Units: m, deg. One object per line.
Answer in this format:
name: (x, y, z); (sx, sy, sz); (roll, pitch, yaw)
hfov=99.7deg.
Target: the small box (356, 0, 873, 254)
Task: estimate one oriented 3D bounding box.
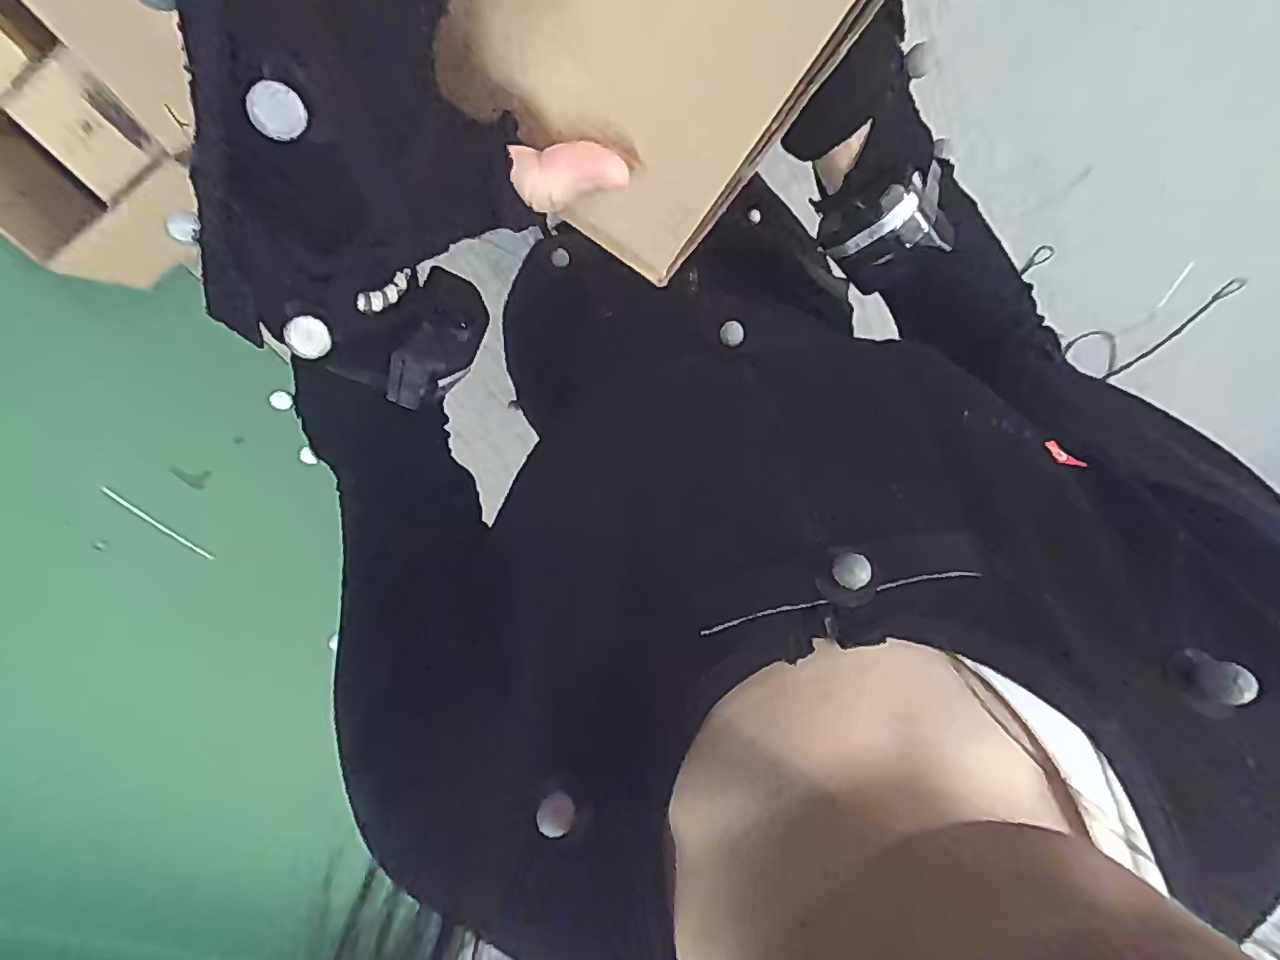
small box: (0.006, -0.217, 0.157); (0.176, 0.168, 0.179); (32, 145, -13)
